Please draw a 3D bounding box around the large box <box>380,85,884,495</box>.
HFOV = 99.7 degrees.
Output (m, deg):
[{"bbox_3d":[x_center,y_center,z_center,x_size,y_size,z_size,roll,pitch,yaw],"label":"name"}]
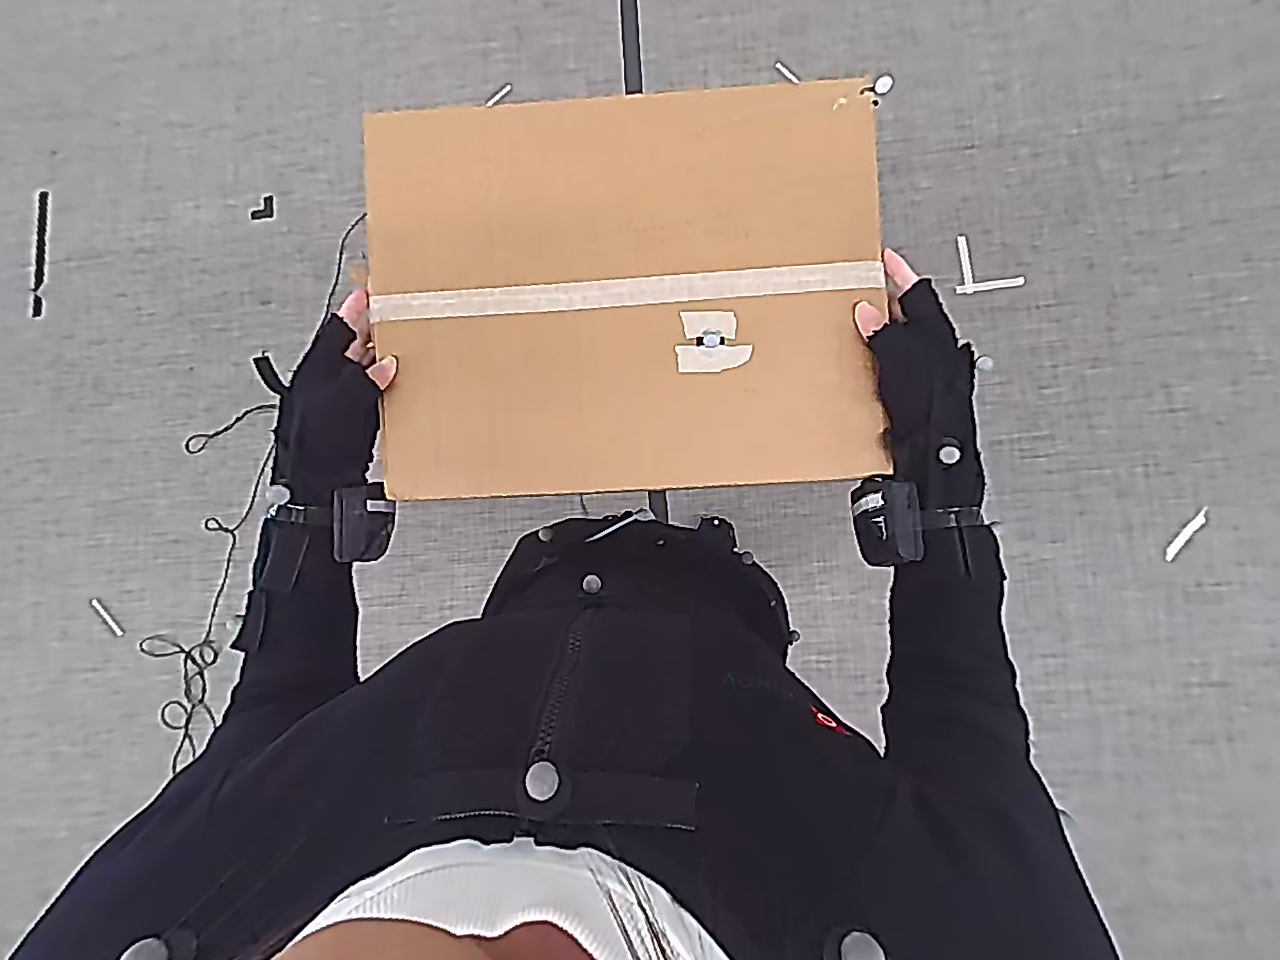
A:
[{"bbox_3d":[-0.007,-0.155,0.591,0.408,0.320,0.320,-3,91,1],"label":"large box"}]
